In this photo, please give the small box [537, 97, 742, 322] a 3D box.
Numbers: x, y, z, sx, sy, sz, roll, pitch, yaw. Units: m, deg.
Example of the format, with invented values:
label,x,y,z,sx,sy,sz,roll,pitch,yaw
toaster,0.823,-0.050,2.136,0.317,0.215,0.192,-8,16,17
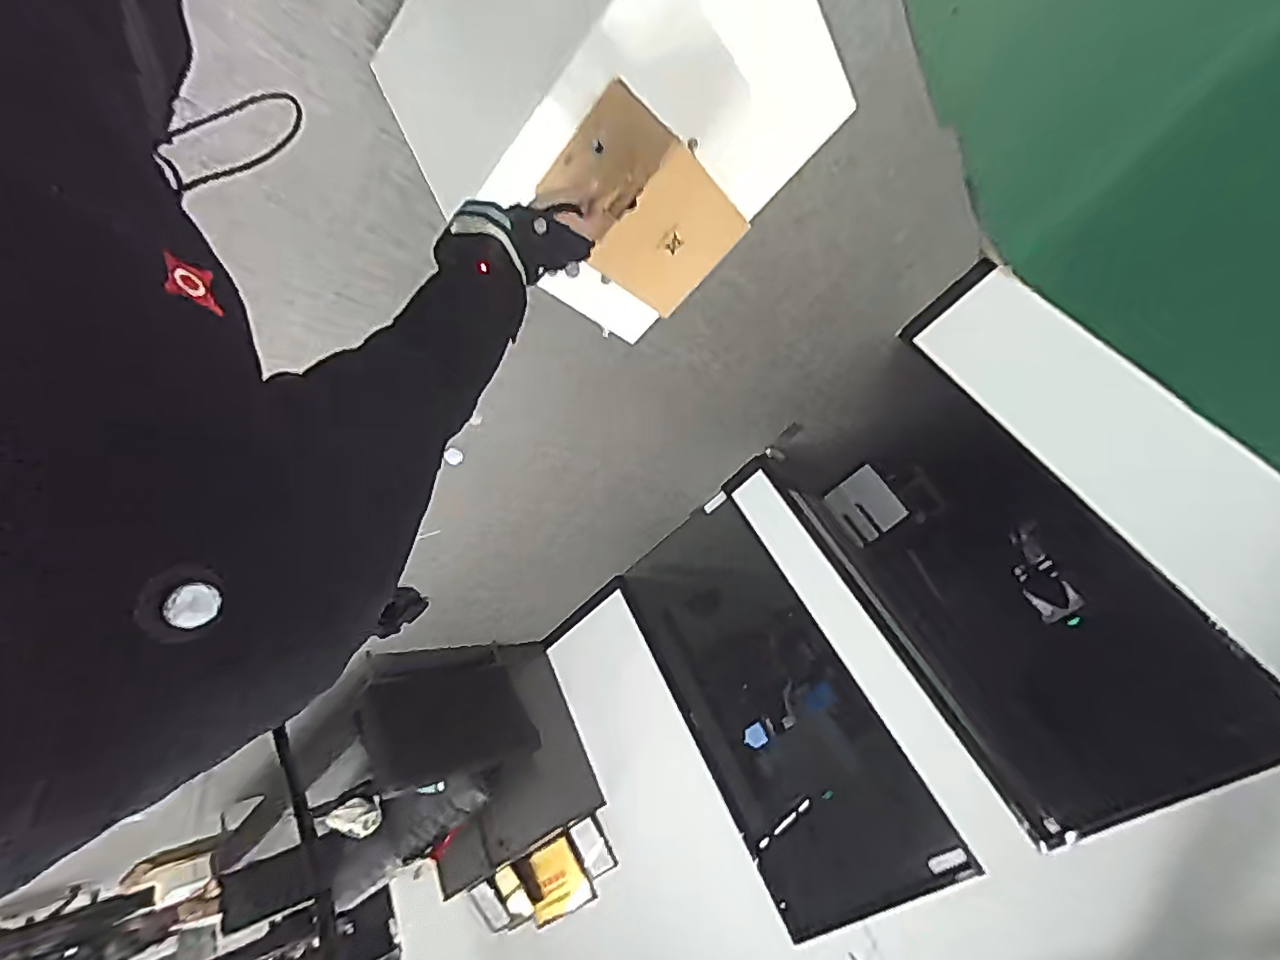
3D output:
label,x,y,z,sx,sy,sz,roll,pitch,yaw
small box,-0.003,-0.349,0.711,0.168,0.176,0.179,-43,149,23
